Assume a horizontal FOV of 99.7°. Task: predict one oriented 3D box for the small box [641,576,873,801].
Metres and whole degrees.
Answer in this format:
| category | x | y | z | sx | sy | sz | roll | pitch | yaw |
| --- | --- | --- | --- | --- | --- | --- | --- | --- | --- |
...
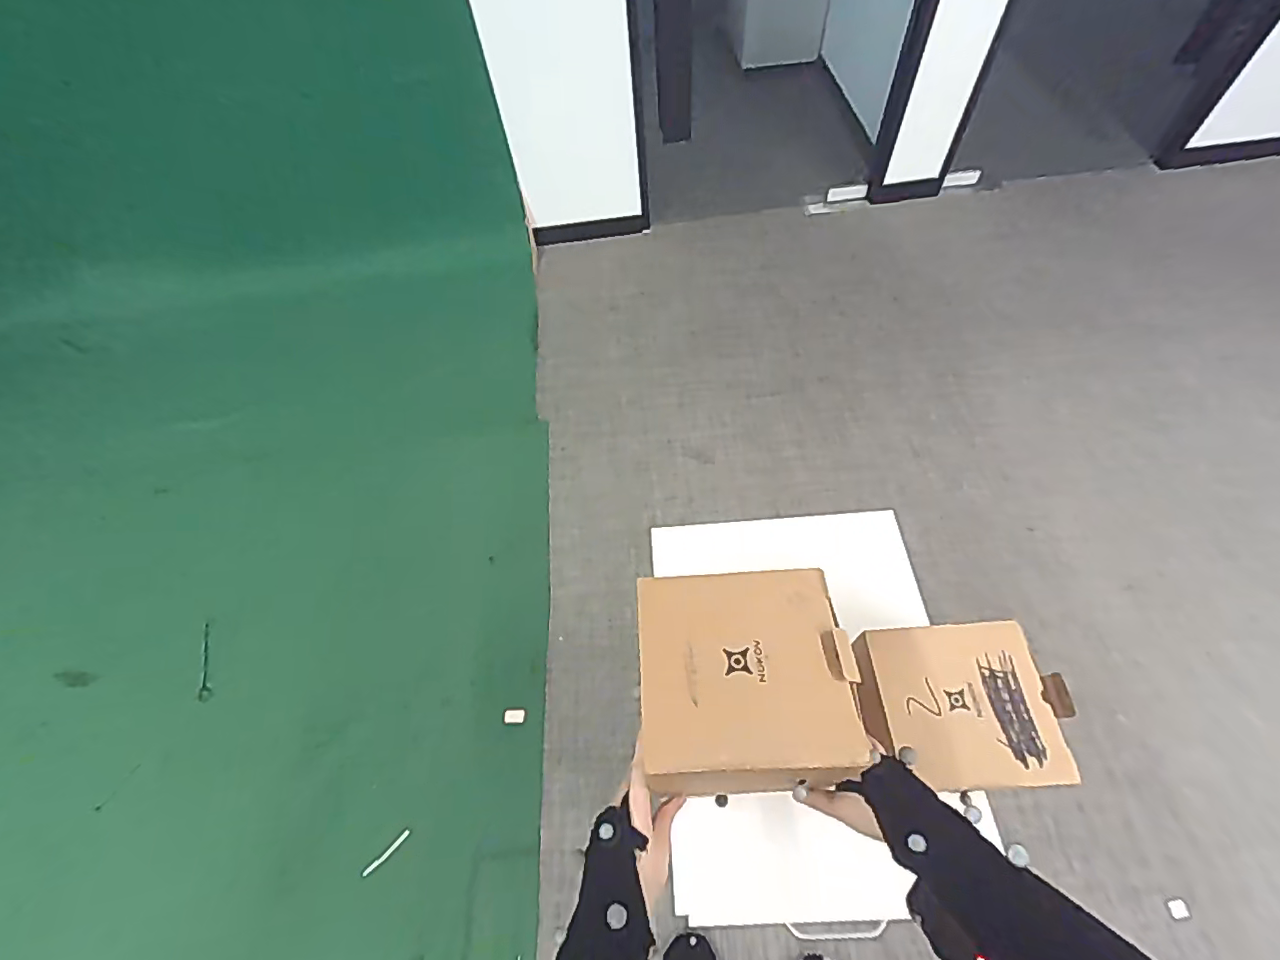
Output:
| category | x | y | z | sx | sy | sz | roll | pitch | yaw |
| --- | --- | --- | --- | --- | --- | --- | --- | --- | --- |
| small box | 0.094 | 0.206 | 0.522 | 0.179 | 0.176 | 0.168 | -4 | 54 | 2 |
